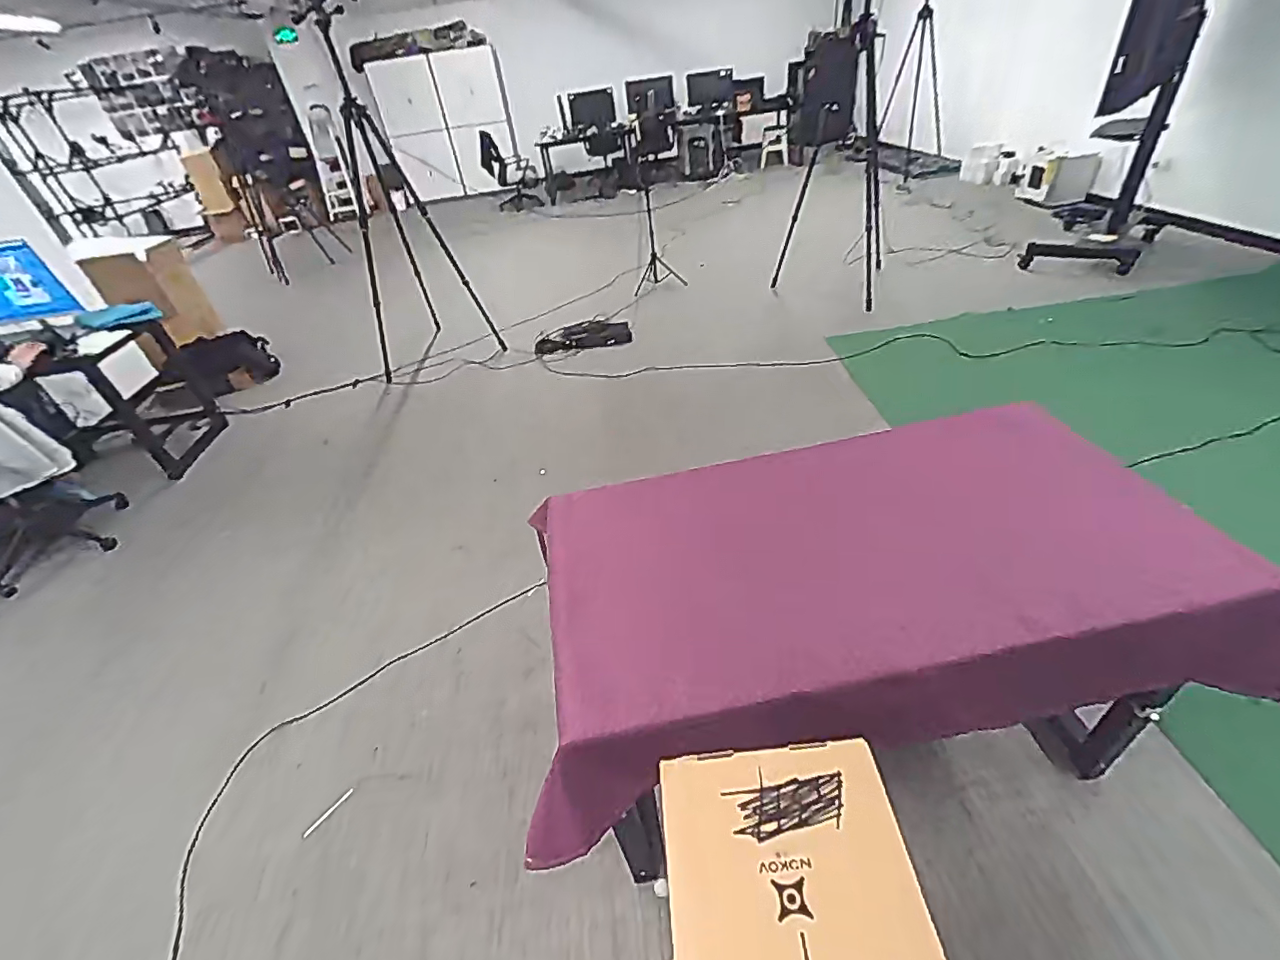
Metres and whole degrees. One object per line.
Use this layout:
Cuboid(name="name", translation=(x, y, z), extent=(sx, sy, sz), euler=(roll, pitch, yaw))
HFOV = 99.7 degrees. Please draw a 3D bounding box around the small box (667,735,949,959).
Cuboid(name="small box", translation=(0.114, 0.327, 0.419), extent=(0.168, 0.176, 0.179), euler=(-8, 42, 3))
